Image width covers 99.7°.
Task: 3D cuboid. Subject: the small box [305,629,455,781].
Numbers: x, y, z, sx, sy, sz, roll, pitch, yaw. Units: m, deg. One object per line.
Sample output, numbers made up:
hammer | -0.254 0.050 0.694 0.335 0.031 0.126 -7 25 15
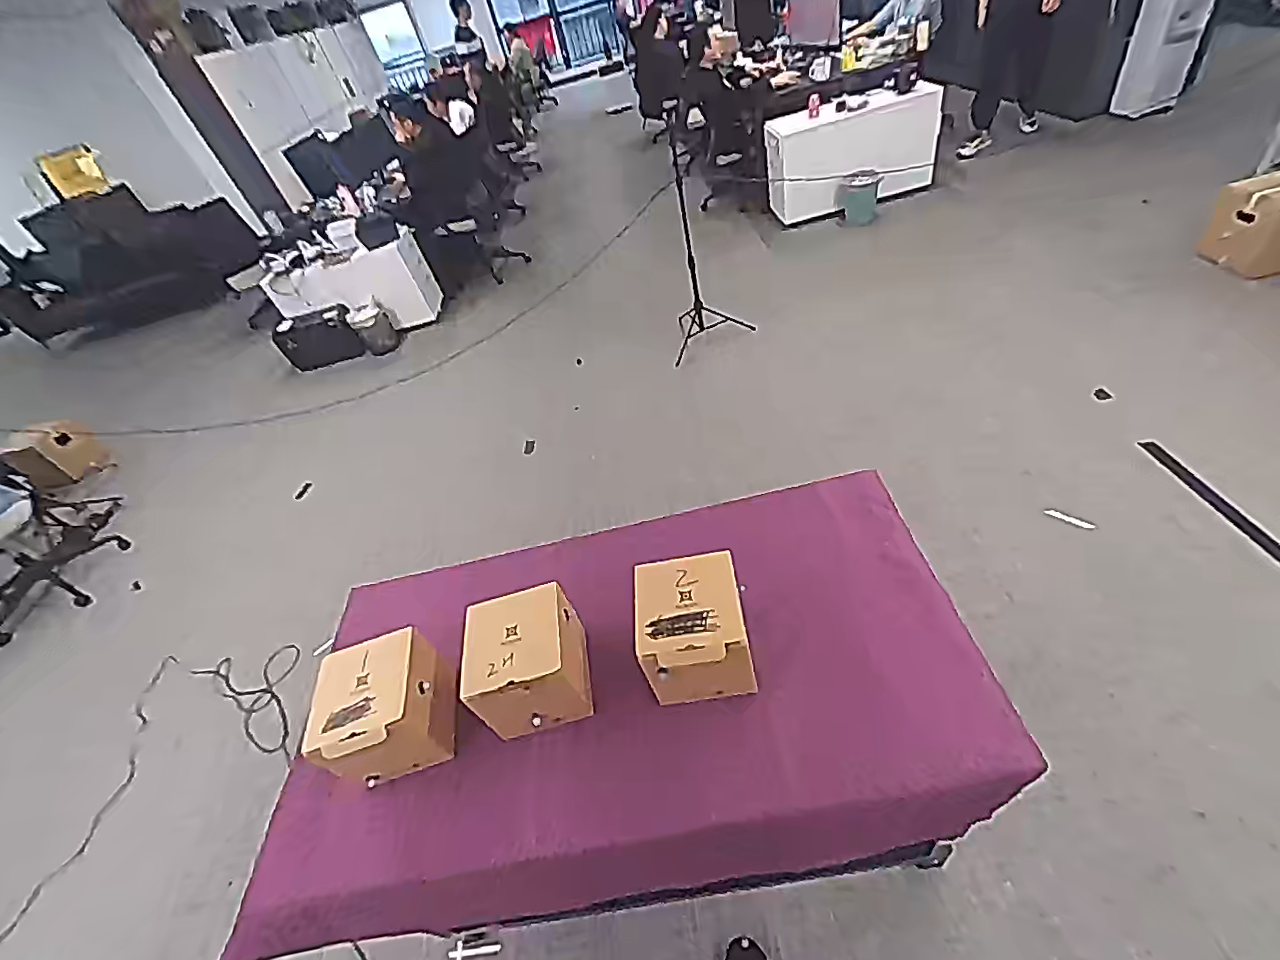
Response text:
small box | -0.436 0.397 0.940 0.168 0.176 0.179 -19 42 -1

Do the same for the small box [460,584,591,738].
small box | -0.193 0.315 0.941 0.168 0.176 0.179 -17 43 2
